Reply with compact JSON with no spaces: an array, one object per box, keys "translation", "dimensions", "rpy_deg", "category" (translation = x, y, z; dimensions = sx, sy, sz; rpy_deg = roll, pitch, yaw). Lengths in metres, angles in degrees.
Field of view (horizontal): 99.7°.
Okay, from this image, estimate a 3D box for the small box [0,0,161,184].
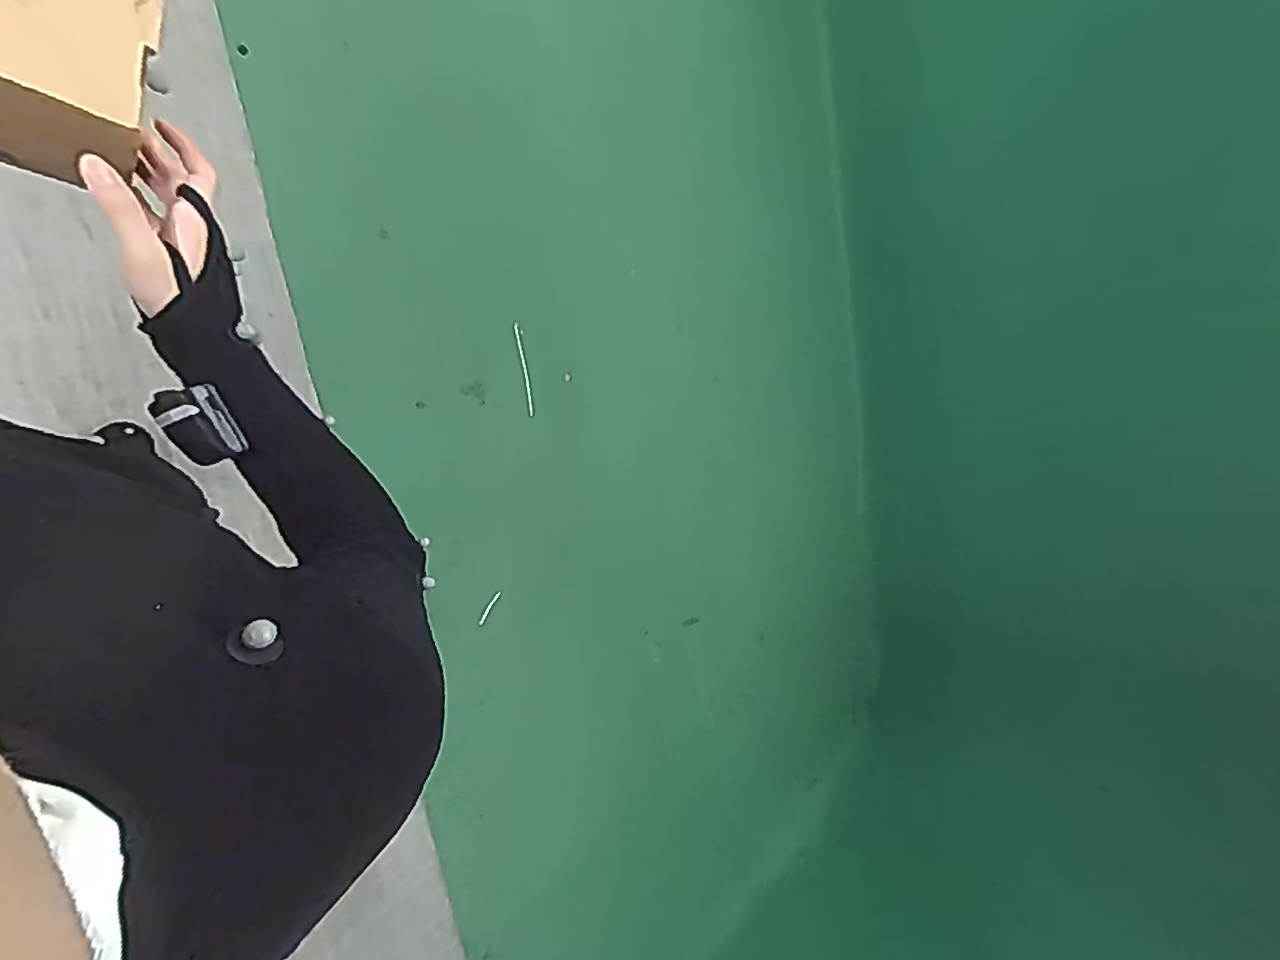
[{"translation":[-0.451,-0.330,0.364],"dimensions":[0.179,0.176,0.168],"rpy_deg":[5,90,-47],"category":"small box"}]
